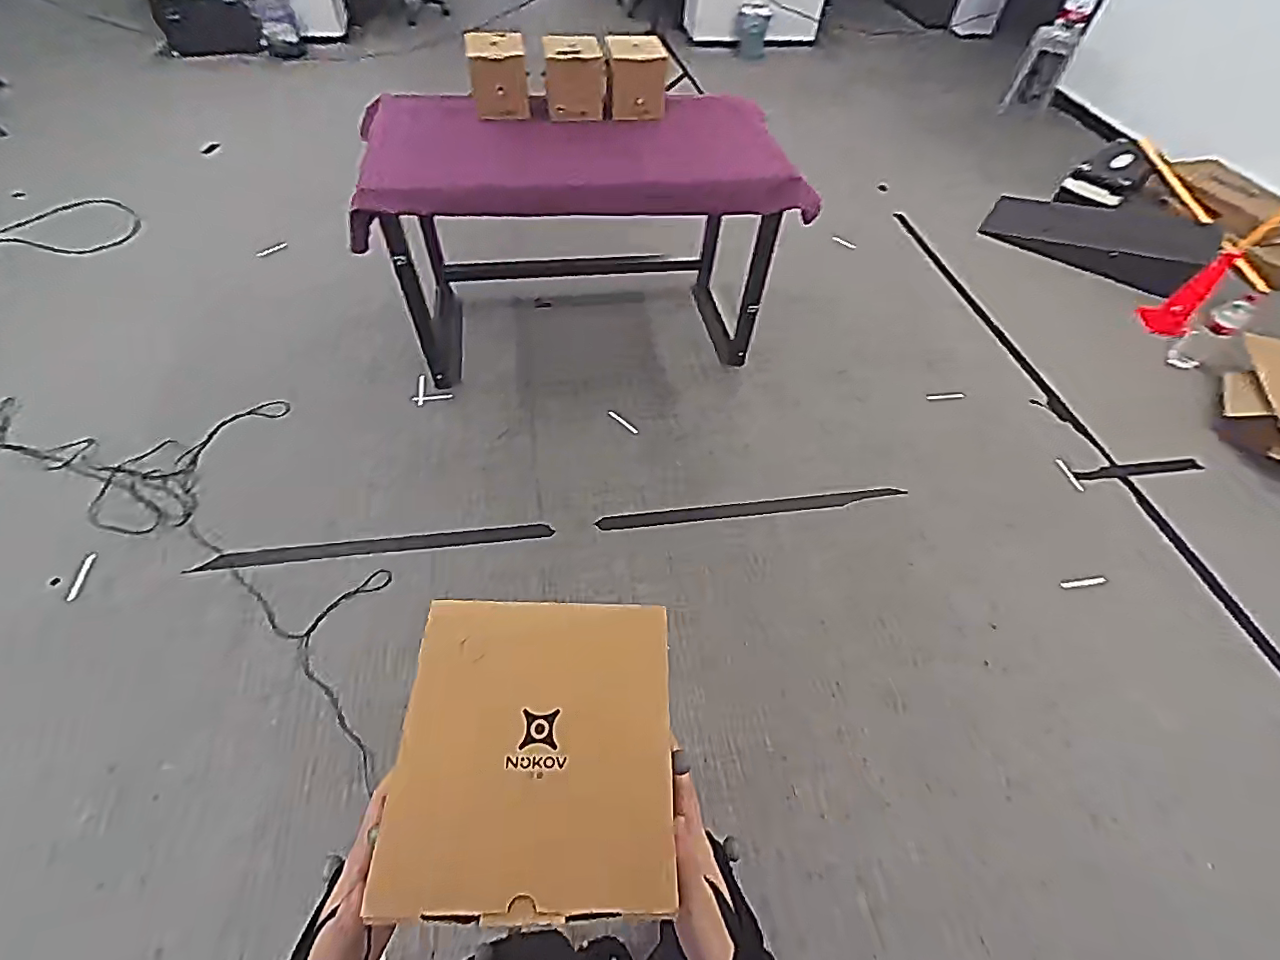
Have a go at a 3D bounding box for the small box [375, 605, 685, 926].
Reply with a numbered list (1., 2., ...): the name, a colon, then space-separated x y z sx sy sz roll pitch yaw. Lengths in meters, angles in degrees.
1. small box: -0.065 0.207 0.396 0.168 0.176 0.179 2 55 -5

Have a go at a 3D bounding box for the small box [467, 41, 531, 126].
1. small box: -0.431 -1.217 1.664 0.168 0.176 0.179 -7 57 -9
